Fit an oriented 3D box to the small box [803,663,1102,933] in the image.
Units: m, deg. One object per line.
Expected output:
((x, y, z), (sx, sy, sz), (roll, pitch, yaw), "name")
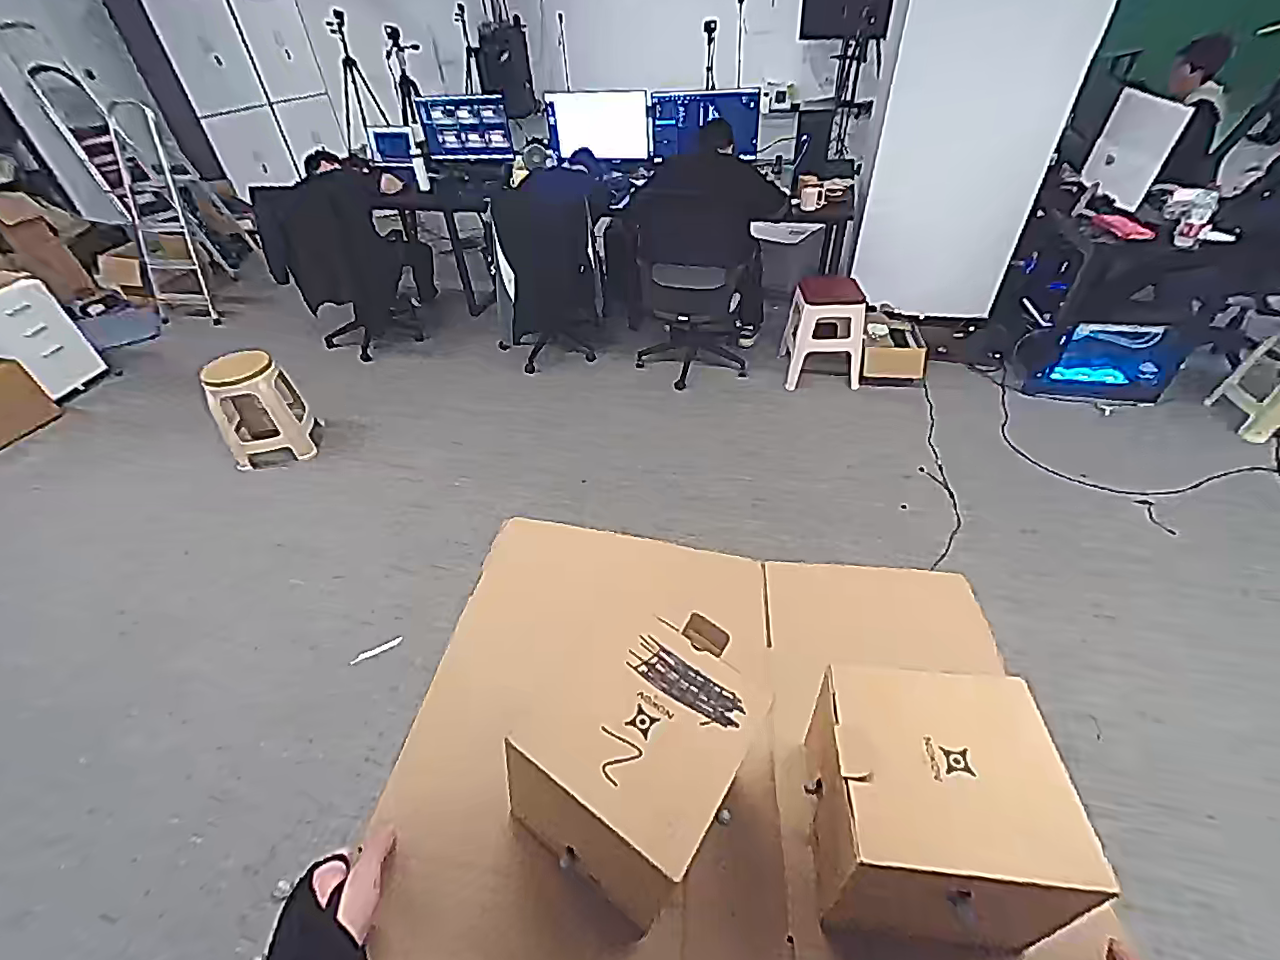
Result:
((0.261, 0.297, 0.507), (0.179, 0.176, 0.168), (2, 39, 8), "small box")
